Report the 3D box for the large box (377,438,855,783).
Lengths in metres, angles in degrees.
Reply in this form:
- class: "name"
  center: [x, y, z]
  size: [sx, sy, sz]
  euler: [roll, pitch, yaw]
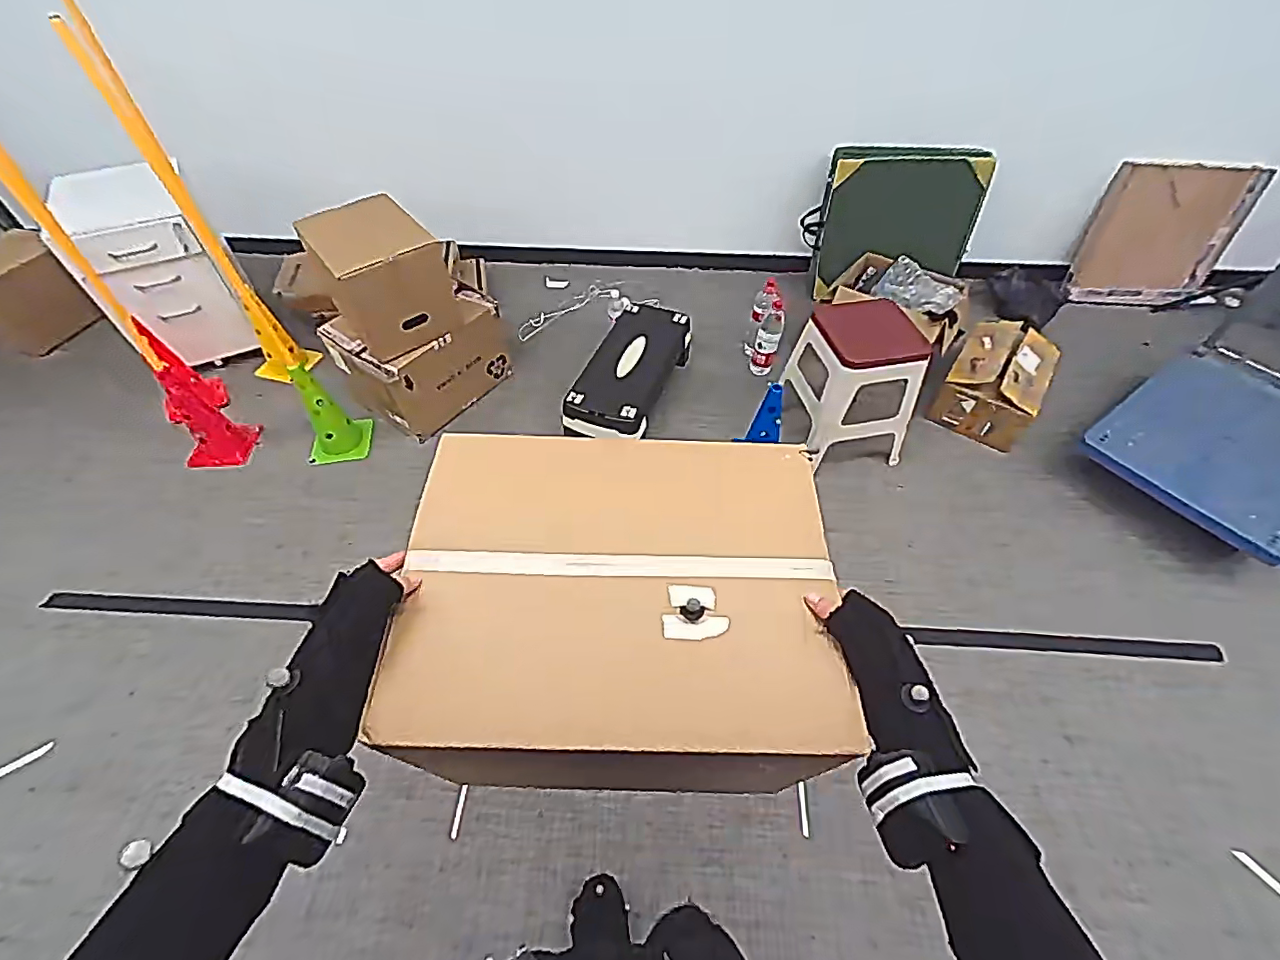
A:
- class: "large box"
  center: [-0.023, 0.169, 0.648]
  size: [0.408, 0.320, 0.320]
  euler: [2, 55, -1]
